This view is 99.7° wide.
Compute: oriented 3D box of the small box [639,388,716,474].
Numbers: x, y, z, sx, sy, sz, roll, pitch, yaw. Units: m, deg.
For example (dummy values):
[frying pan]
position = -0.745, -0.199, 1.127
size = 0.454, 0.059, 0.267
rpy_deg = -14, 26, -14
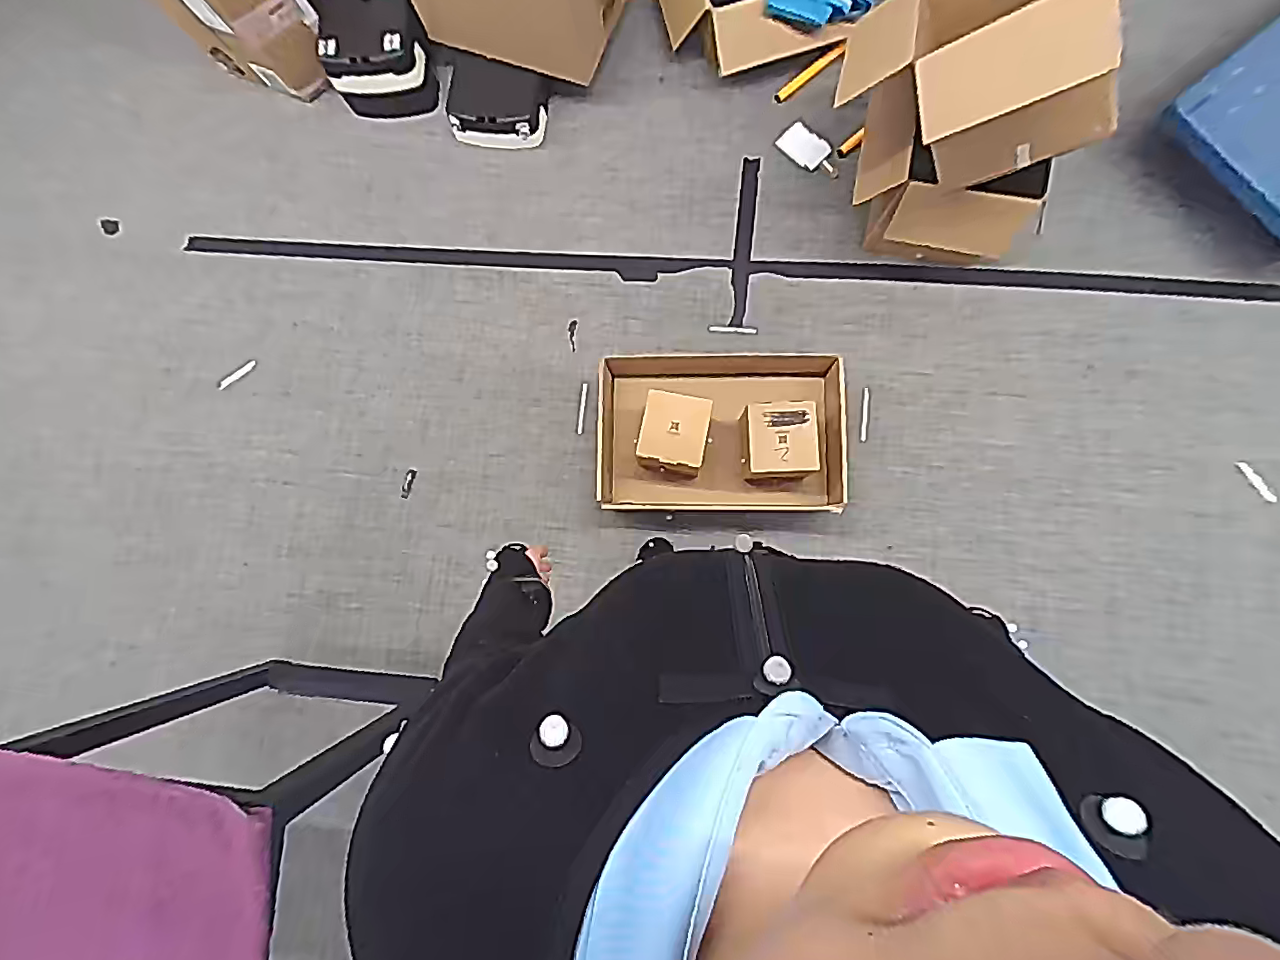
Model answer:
[small box]
position = 0.096, -0.122, 1.415
size = 0.168, 0.176, 0.179
rpy_deg = 11, 85, 4
